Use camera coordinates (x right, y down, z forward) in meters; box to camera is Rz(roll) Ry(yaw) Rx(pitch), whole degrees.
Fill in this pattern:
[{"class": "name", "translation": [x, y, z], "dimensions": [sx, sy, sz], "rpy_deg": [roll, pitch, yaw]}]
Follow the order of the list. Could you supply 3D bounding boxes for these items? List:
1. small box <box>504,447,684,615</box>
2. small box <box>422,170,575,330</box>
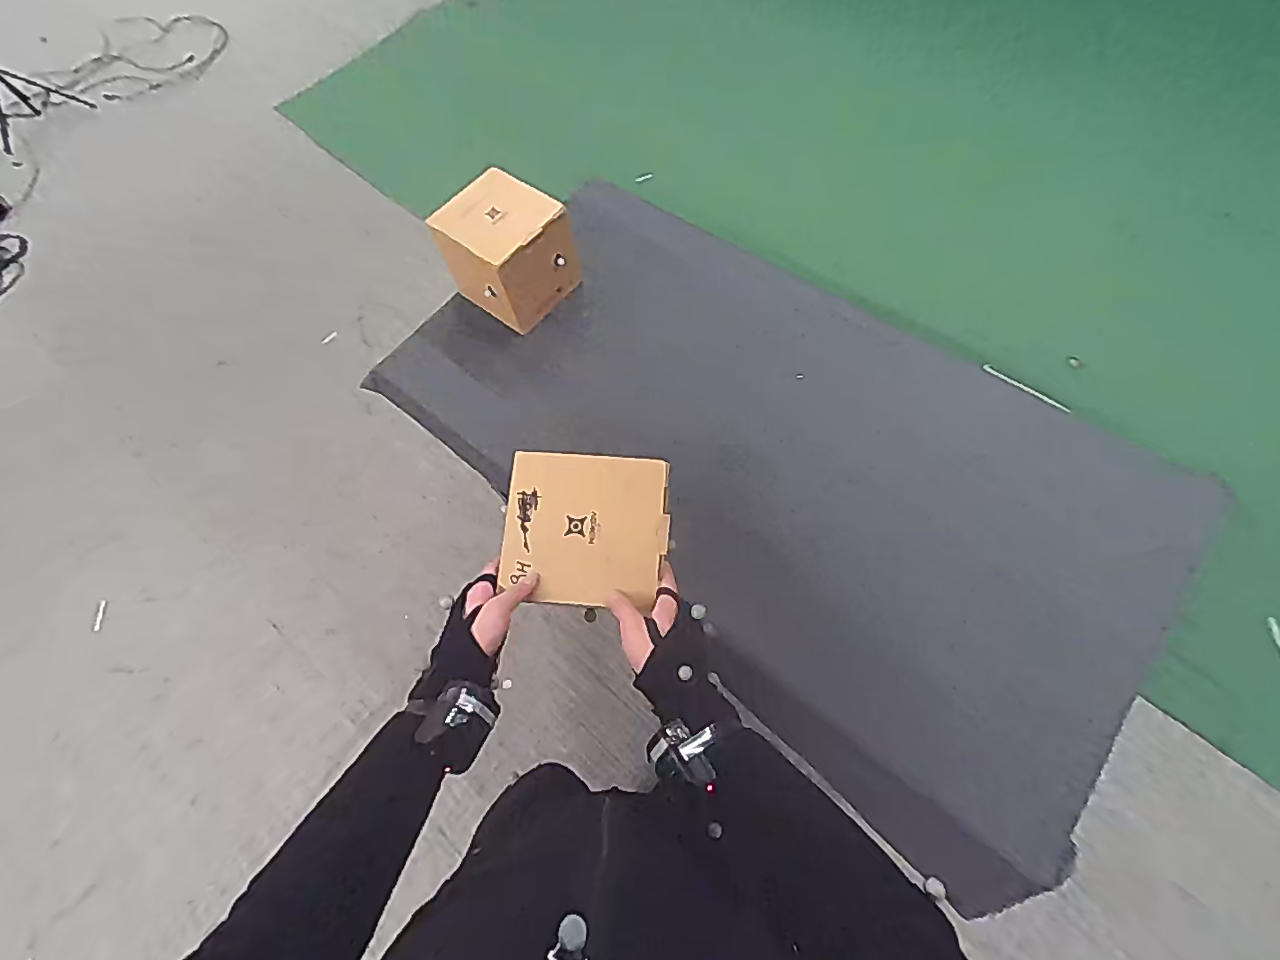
[{"class": "small box", "translation": [-0.047, 0.071, 0.648], "dimensions": [0.179, 0.176, 0.168], "rpy_deg": [5, 74, 0]}, {"class": "small box", "translation": [-0.234, -0.392, 0.946], "dimensions": [0.179, 0.176, 0.168], "rpy_deg": [34, 69, 18]}]
